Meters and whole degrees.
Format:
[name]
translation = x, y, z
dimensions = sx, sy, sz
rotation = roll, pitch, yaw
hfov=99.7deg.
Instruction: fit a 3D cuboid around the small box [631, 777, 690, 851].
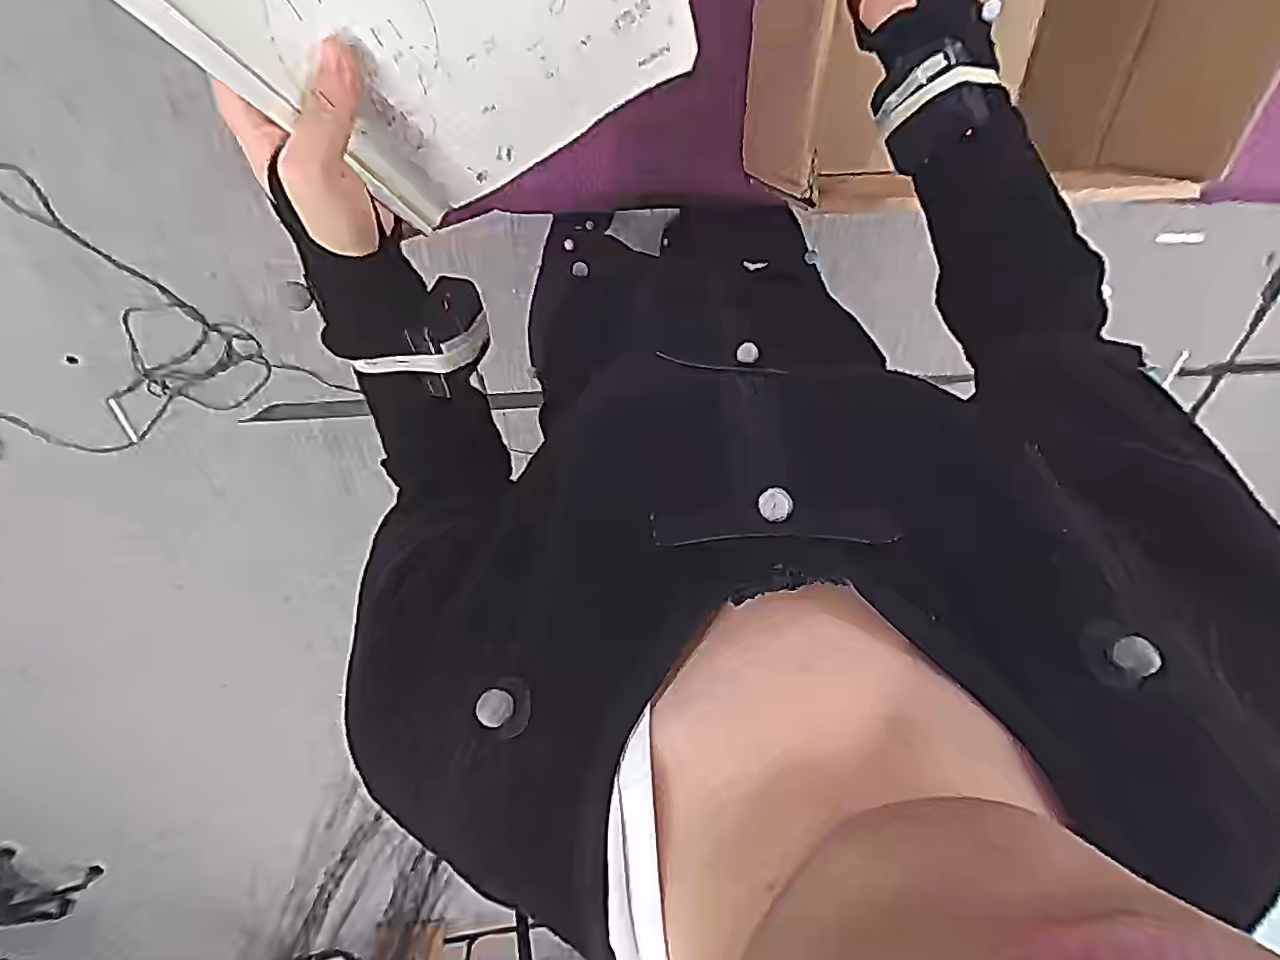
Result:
[small box]
translation = 0.067, 1.203, 1.952
dimensions = 0.179, 0.176, 0.168
rotation = -3, 128, -10
